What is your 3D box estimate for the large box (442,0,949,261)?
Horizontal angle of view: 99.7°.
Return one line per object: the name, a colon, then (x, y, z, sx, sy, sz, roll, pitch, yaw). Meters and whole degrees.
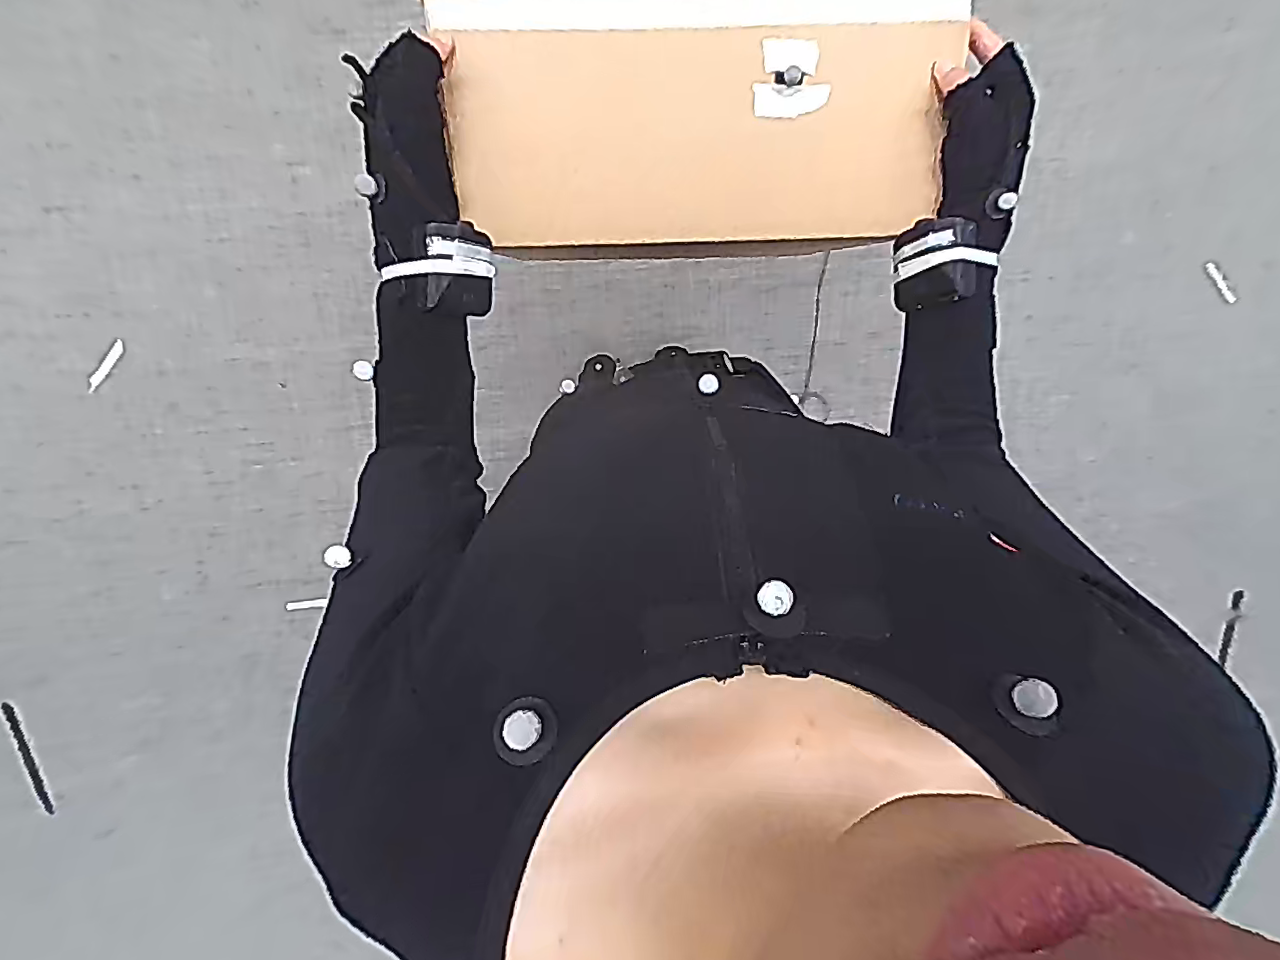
large box: (0.037, -0.408, 0.562, 0.408, 0.320, 0.320, -3, 111, -3)
